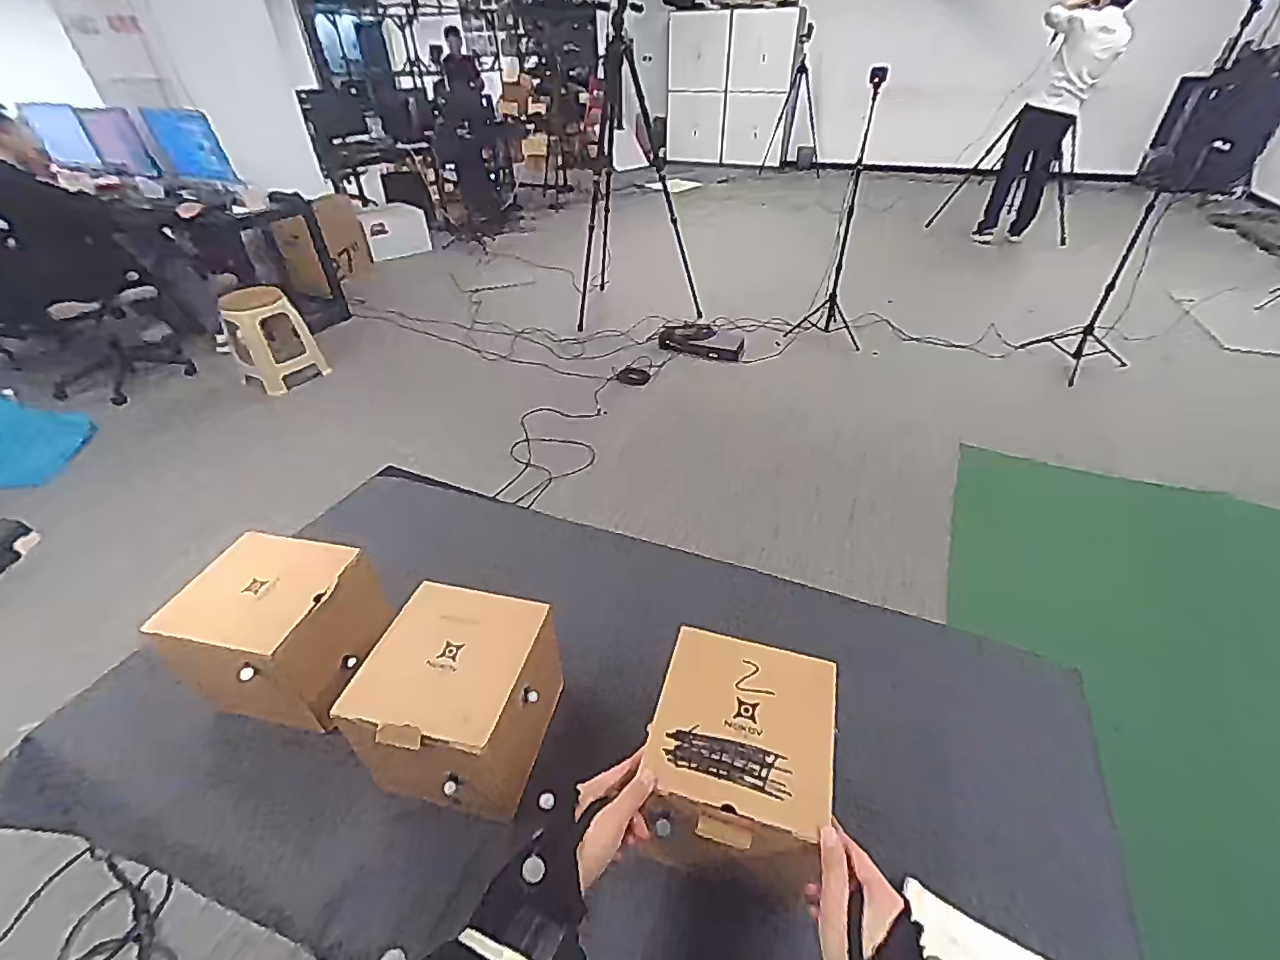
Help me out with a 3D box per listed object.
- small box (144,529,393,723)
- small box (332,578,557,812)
[{"bbox_3d":[-0.455,0.187,0.699,0.179,0.176,0.168,7,38,9],"label":"small box"},{"bbox_3d":[-0.201,0.244,0.621,0.168,0.176,0.179,9,38,10],"label":"small box"}]
